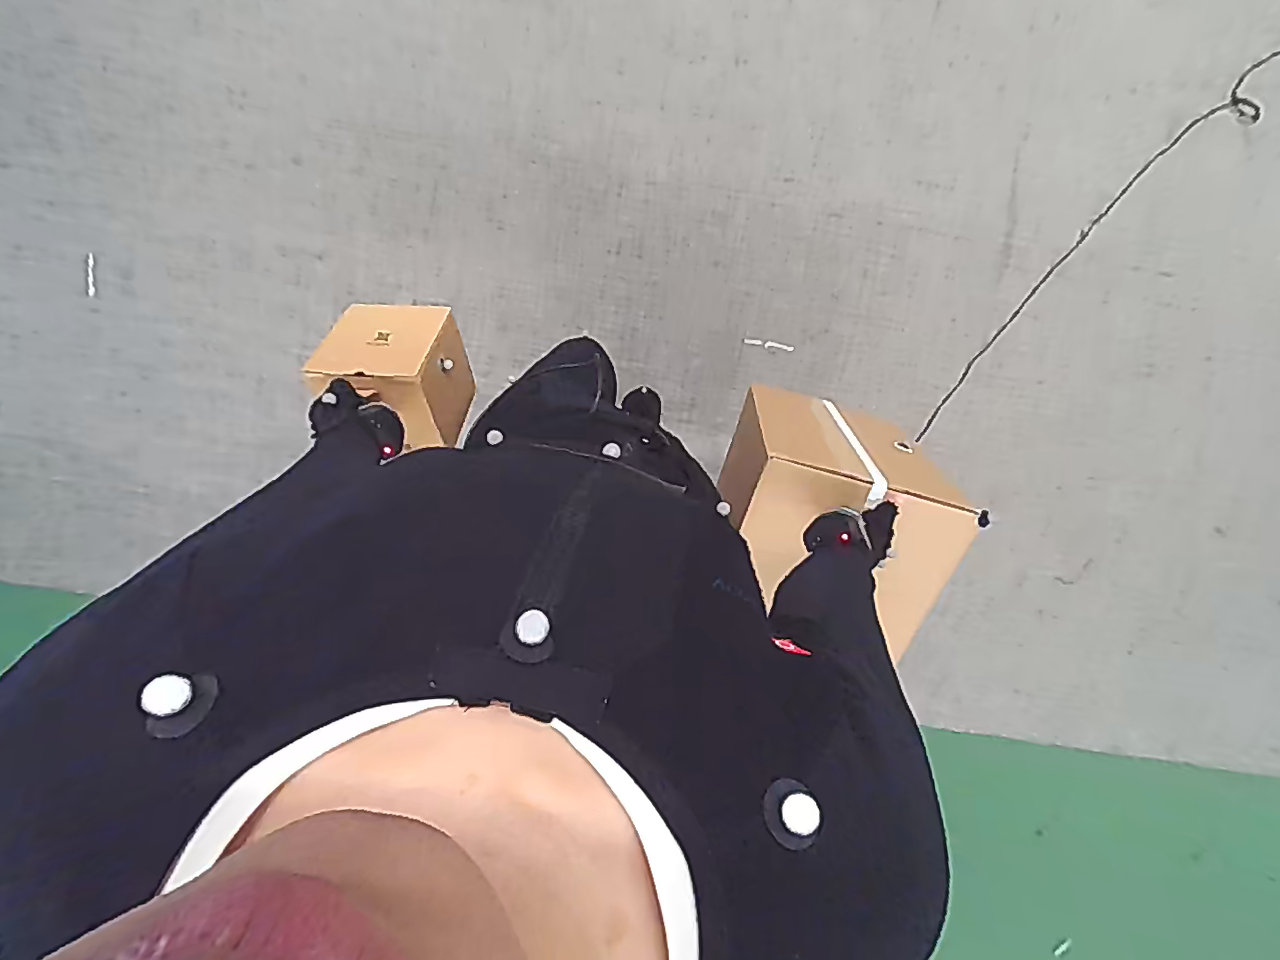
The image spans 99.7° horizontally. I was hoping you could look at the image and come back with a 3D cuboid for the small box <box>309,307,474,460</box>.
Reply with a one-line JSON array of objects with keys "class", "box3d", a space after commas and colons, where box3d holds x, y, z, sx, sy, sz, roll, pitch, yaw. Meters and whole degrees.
[{"class": "small box", "box3d": [-0.380, -0.155, 0.869, 0.168, 0.179, 0.176, 2, 141, 3]}]
